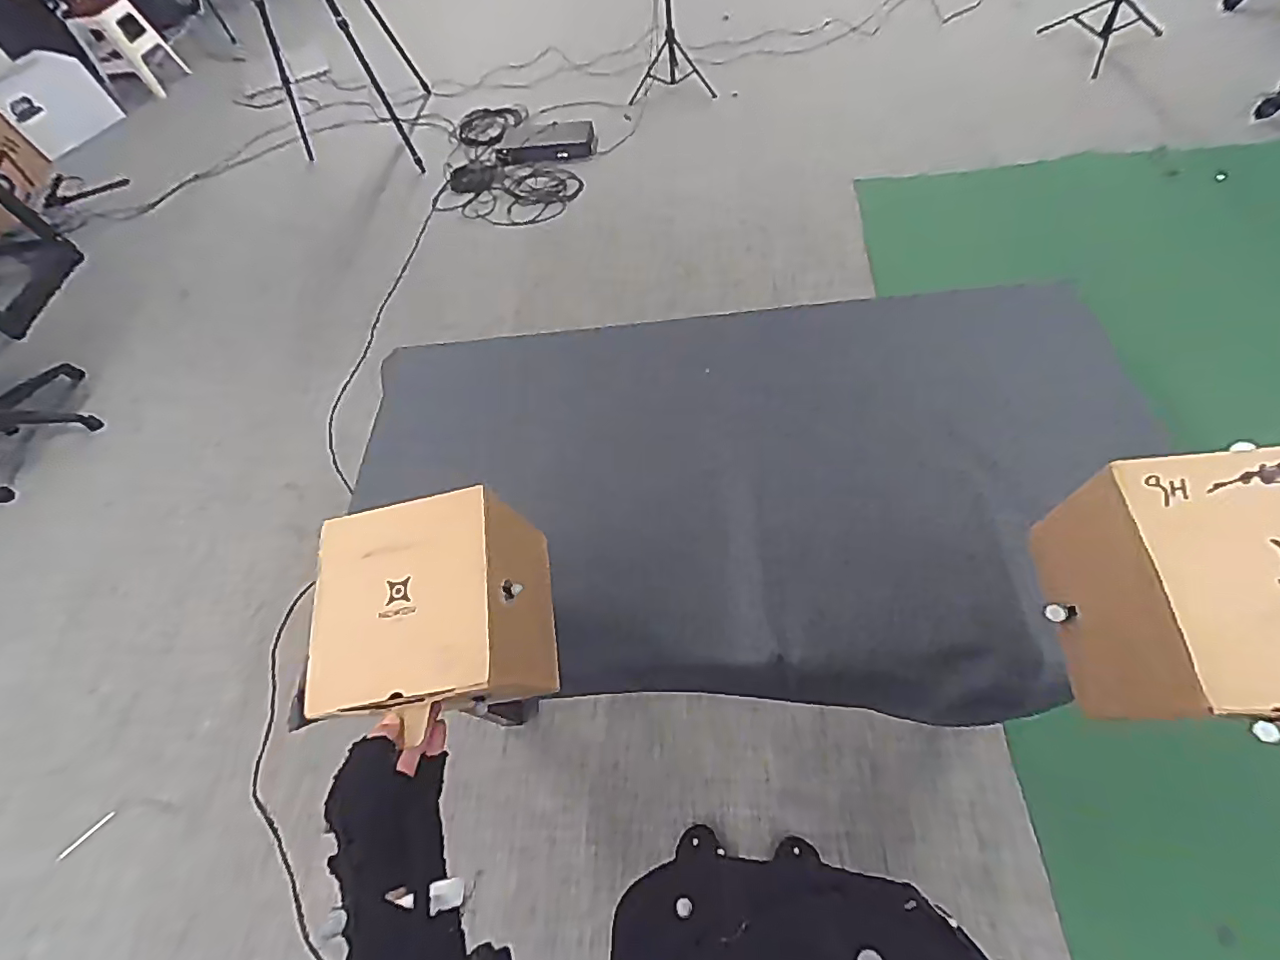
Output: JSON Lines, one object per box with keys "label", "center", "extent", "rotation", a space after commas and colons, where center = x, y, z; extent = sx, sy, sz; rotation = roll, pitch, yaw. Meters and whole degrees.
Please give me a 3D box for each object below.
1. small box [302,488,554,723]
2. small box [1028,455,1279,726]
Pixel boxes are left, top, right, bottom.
{"label": "small box", "center": [-0.191, 0.132, 0.534], "extent": [0.168, 0.176, 0.179], "rotation": [-12, 65, 6]}
{"label": "small box", "center": [0.446, 0.095, 0.422], "extent": [0.168, 0.176, 0.179], "rotation": [-5, 65, 12]}
